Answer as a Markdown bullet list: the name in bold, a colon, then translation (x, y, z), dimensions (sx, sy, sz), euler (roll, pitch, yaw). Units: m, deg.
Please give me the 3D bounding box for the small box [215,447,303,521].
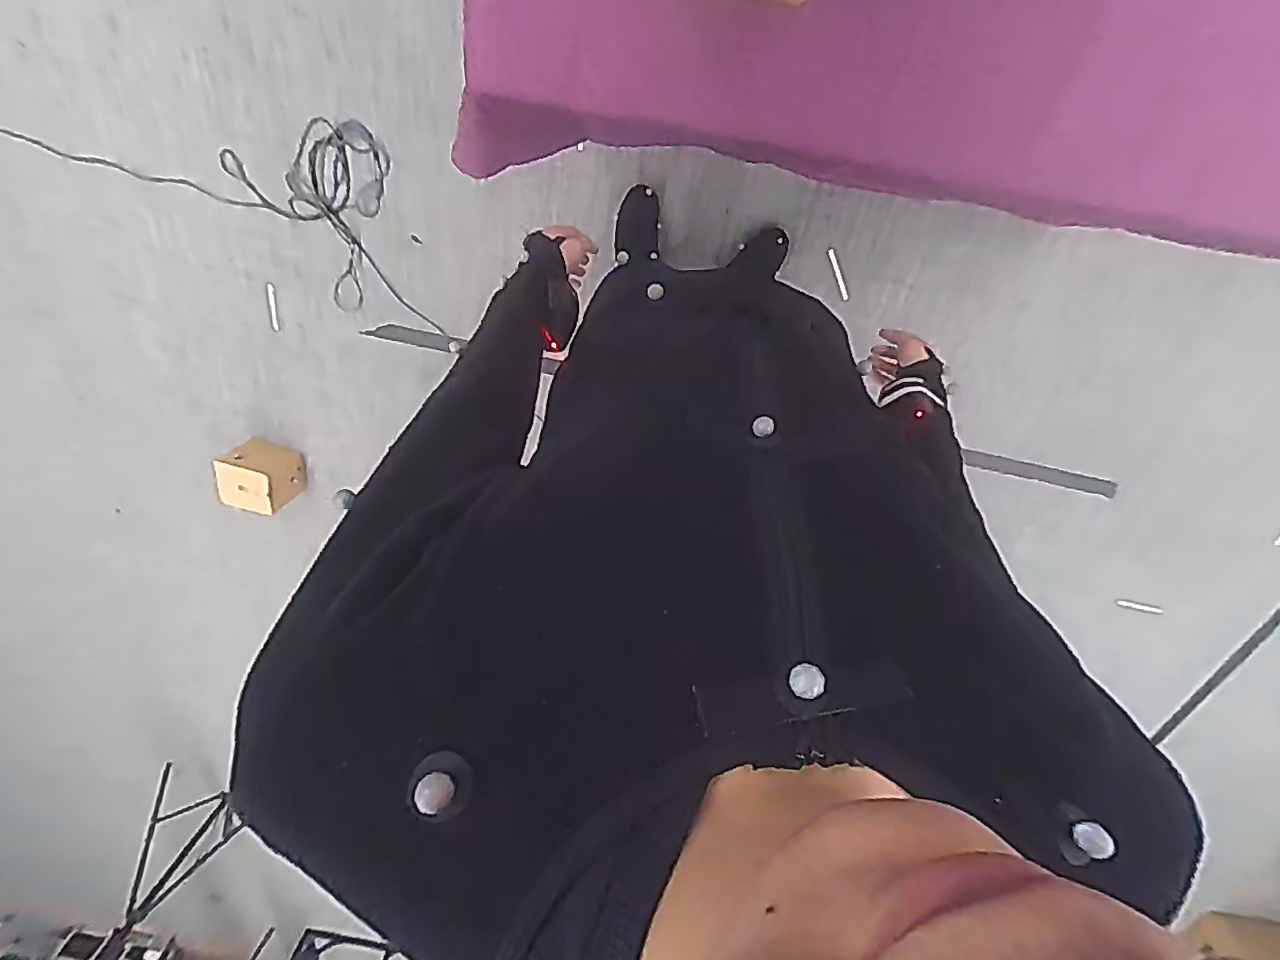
- **small box**: translation (-1.271, 0.008, 1.814), dimensions (0.179, 0.176, 0.168), euler (15, 120, -2)
